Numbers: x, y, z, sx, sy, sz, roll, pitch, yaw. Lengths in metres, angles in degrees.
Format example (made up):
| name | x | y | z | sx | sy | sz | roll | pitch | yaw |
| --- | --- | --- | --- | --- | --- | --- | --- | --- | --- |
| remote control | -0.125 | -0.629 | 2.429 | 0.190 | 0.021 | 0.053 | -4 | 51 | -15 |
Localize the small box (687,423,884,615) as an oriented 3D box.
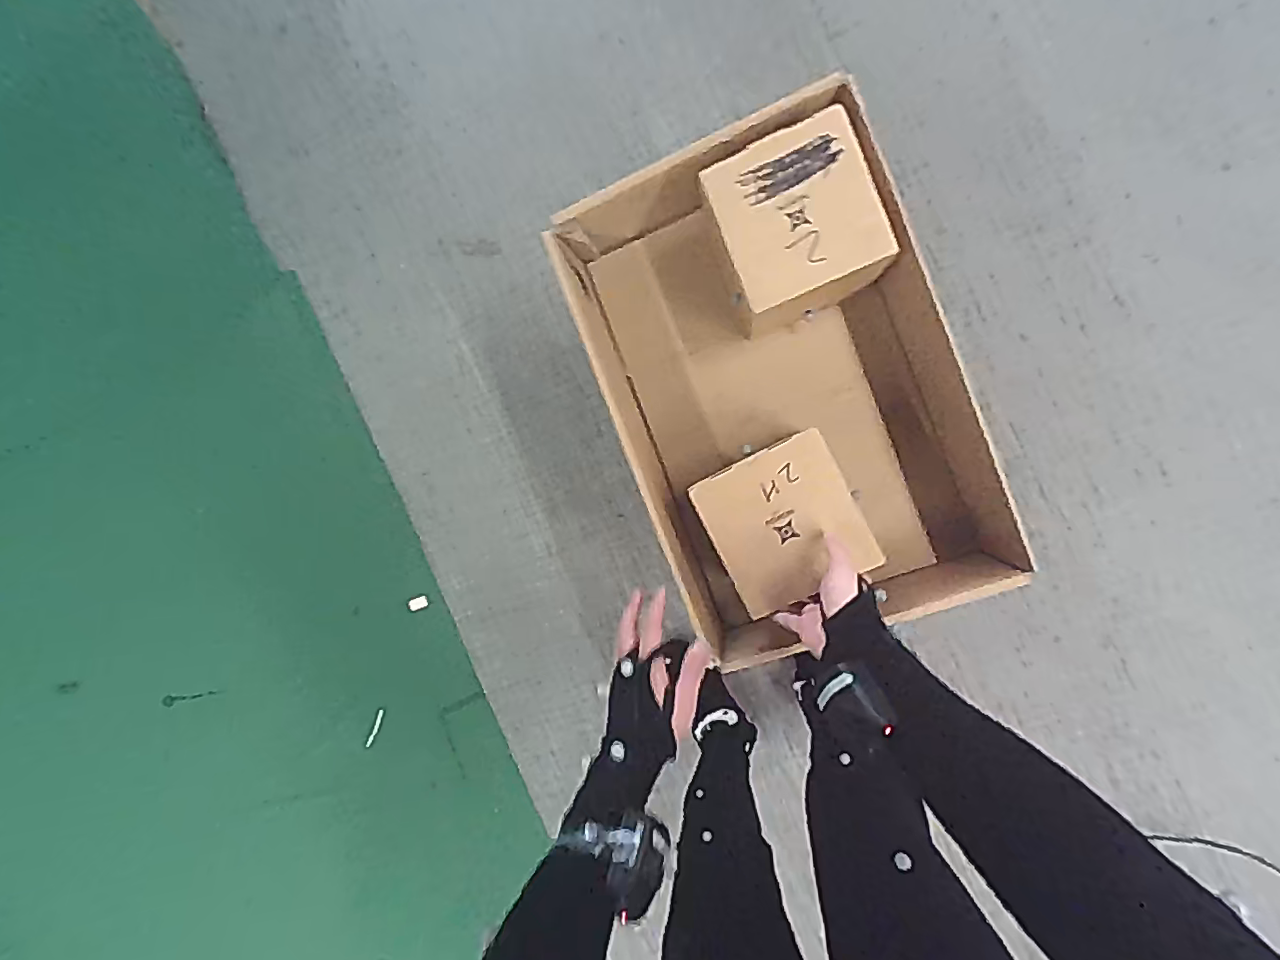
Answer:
| name | x | y | z | sx | sy | sz | roll | pitch | yaw |
| --- | --- | --- | --- | --- | --- | --- | --- | --- | --- |
| small box | 0.179 | 0.041 | 0.691 | 0.168 | 0.176 | 0.179 | -28 | 87 | 12 |
